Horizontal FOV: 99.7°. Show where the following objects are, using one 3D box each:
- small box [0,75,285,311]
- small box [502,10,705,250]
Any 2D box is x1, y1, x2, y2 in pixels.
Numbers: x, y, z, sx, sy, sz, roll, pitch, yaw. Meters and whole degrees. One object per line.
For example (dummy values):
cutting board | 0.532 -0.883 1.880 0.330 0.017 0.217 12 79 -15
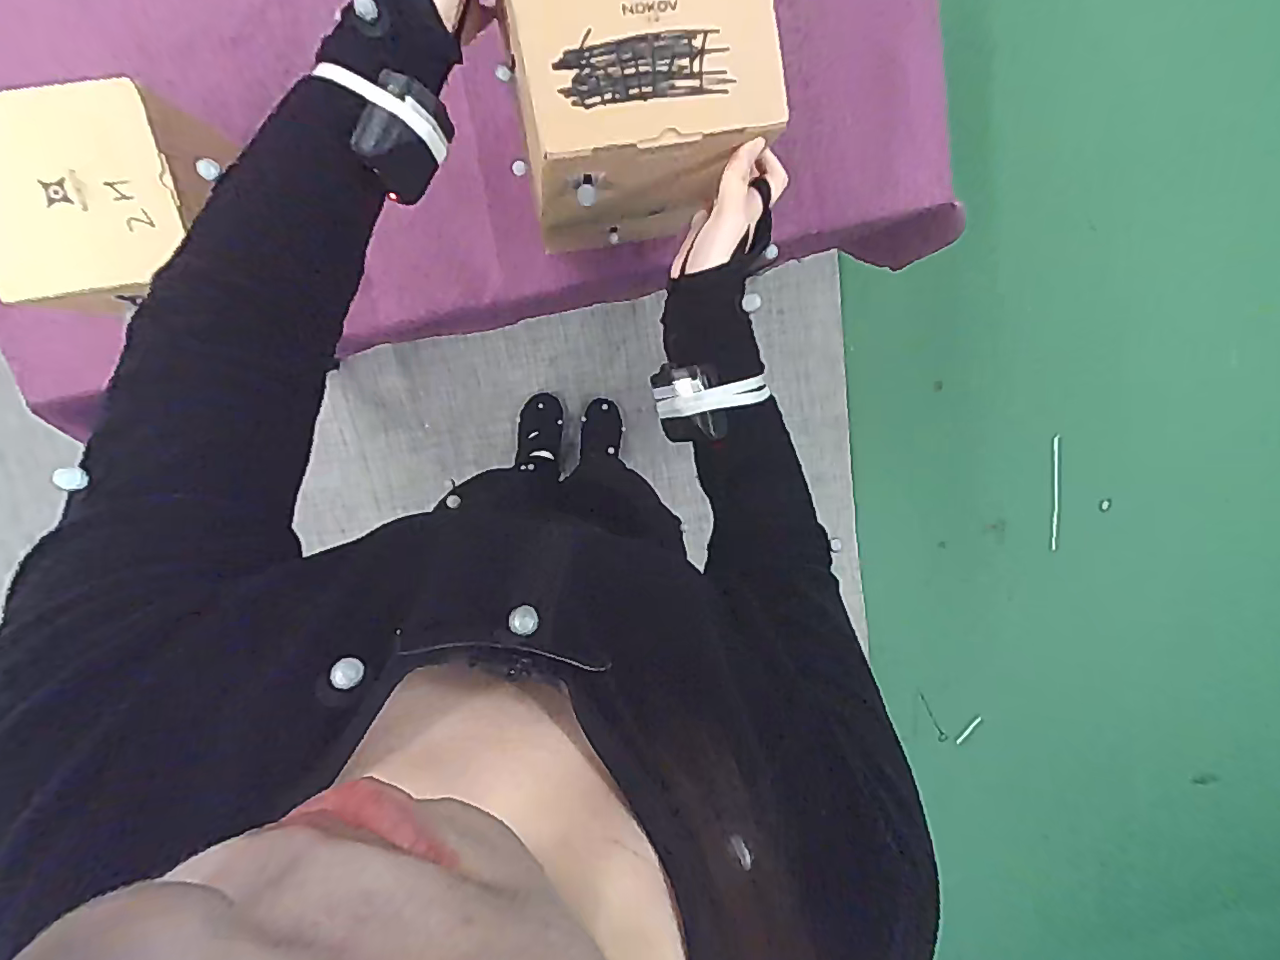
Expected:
small box | -0.516 -0.276 0.558 0.179 0.176 0.168 -10 103 -5
small box | -0.040 -0.365 0.596 0.179 0.176 0.168 -10 103 -3
